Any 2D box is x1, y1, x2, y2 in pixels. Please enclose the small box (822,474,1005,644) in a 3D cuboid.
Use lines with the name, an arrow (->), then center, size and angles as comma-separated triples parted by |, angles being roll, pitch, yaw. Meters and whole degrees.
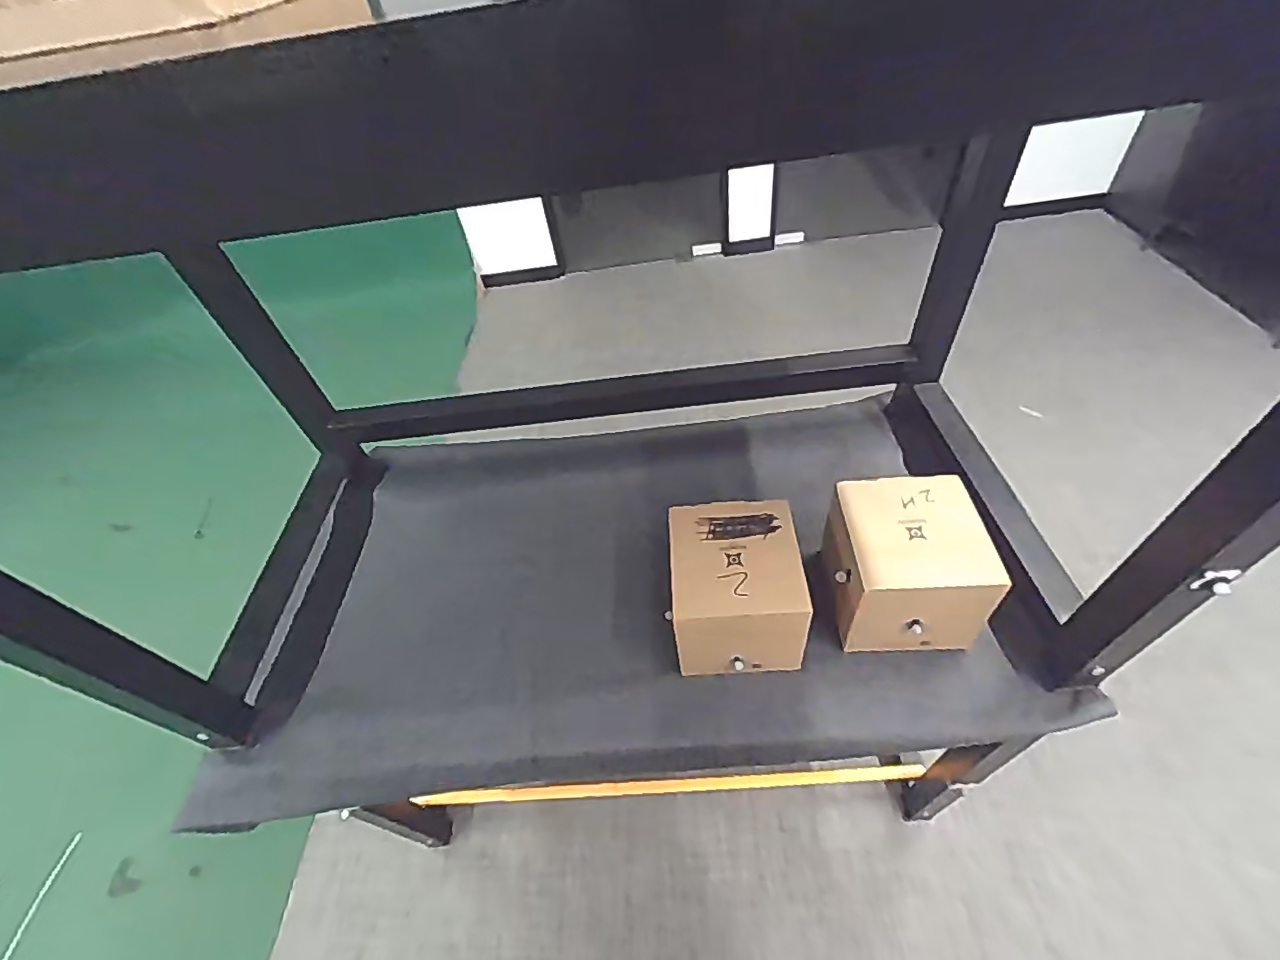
small box -> 0.357, 0.115, 0.747 | 0.168, 0.176, 0.179 | -3, 47, 6

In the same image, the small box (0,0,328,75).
small box -> -0.278, -0.311, 0.252 | 0.168, 0.176, 0.179 | -4, 48, 6
